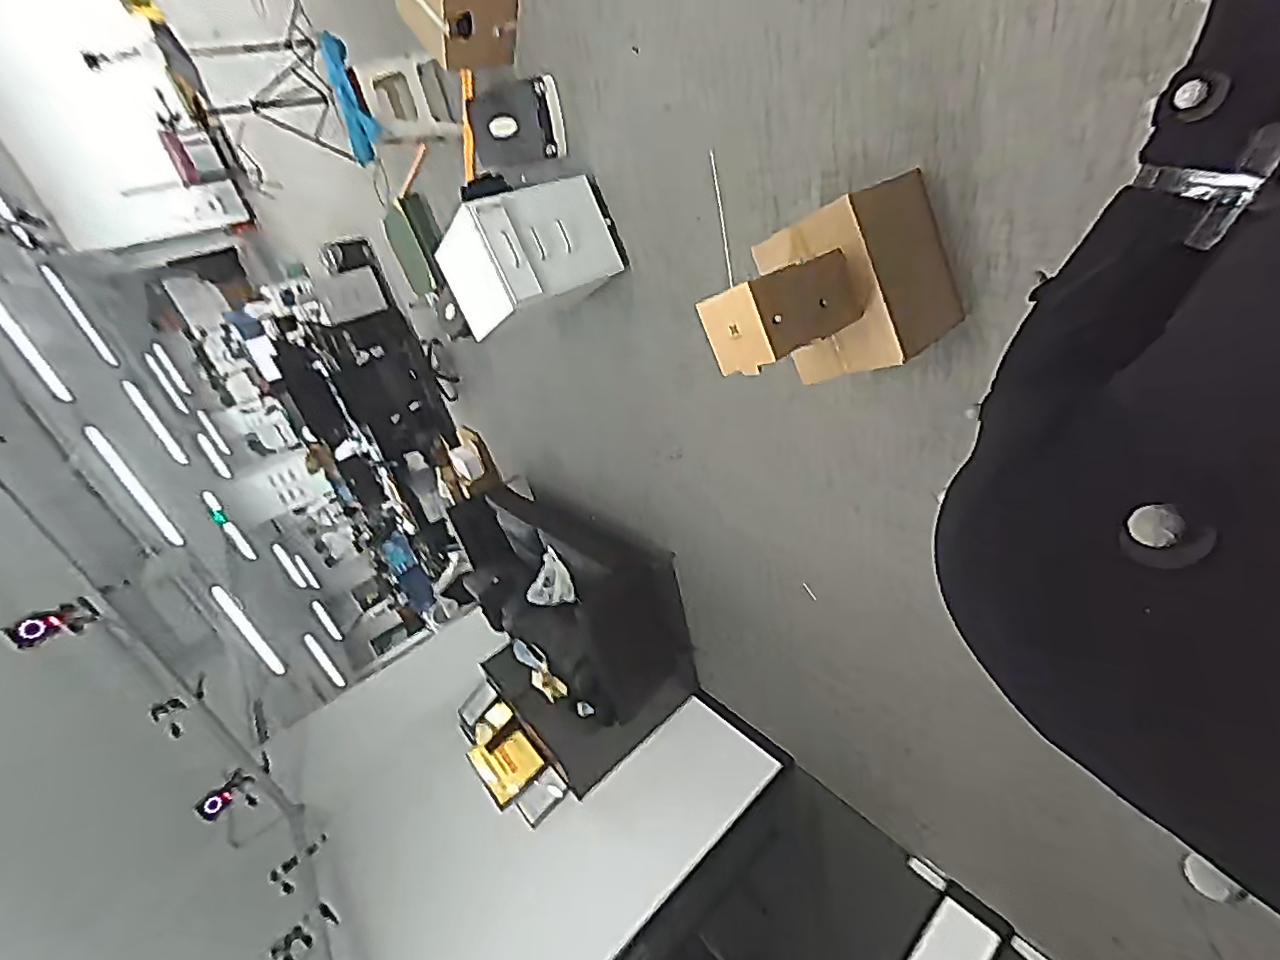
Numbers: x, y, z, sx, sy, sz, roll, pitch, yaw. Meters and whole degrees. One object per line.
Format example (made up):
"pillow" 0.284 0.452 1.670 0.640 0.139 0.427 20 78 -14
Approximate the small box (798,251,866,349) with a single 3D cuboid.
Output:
"small box" 0.413 -0.424 1.306 0.168 0.176 0.179 -4 114 58

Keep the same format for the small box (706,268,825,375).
"small box" 0.286 -0.362 1.224 0.168 0.176 0.179 -3 115 57
